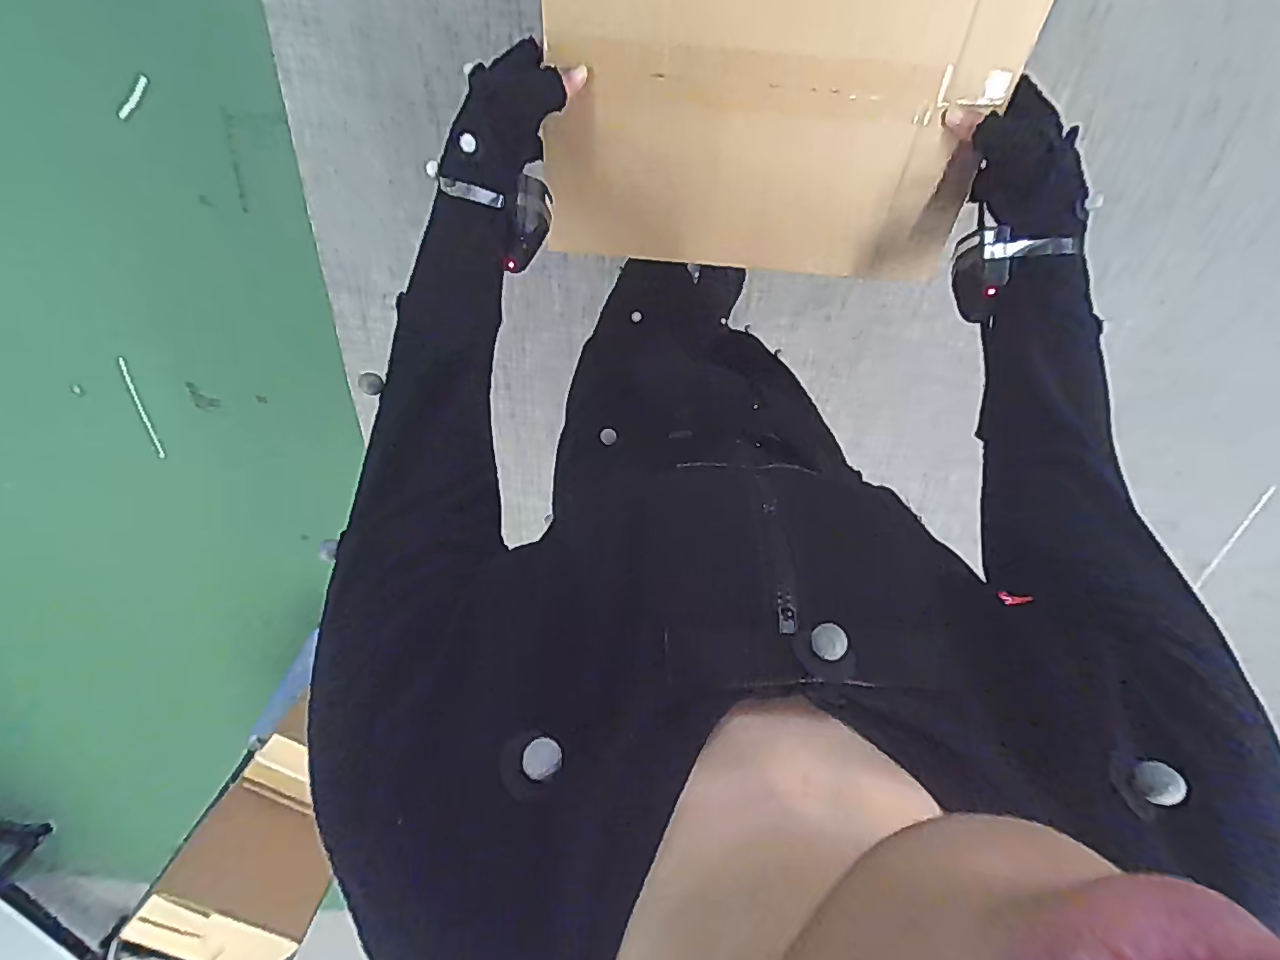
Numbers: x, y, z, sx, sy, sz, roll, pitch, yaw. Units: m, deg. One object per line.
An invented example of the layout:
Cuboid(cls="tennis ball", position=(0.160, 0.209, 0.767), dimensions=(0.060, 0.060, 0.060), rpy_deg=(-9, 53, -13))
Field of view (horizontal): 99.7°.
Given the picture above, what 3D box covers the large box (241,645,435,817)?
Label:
Cuboid(cls="large box", position=(-0.971, 0.819, 1.776), dimensions=(0.408, 0.320, 0.320), rpy_deg=(36, 118, -17))
